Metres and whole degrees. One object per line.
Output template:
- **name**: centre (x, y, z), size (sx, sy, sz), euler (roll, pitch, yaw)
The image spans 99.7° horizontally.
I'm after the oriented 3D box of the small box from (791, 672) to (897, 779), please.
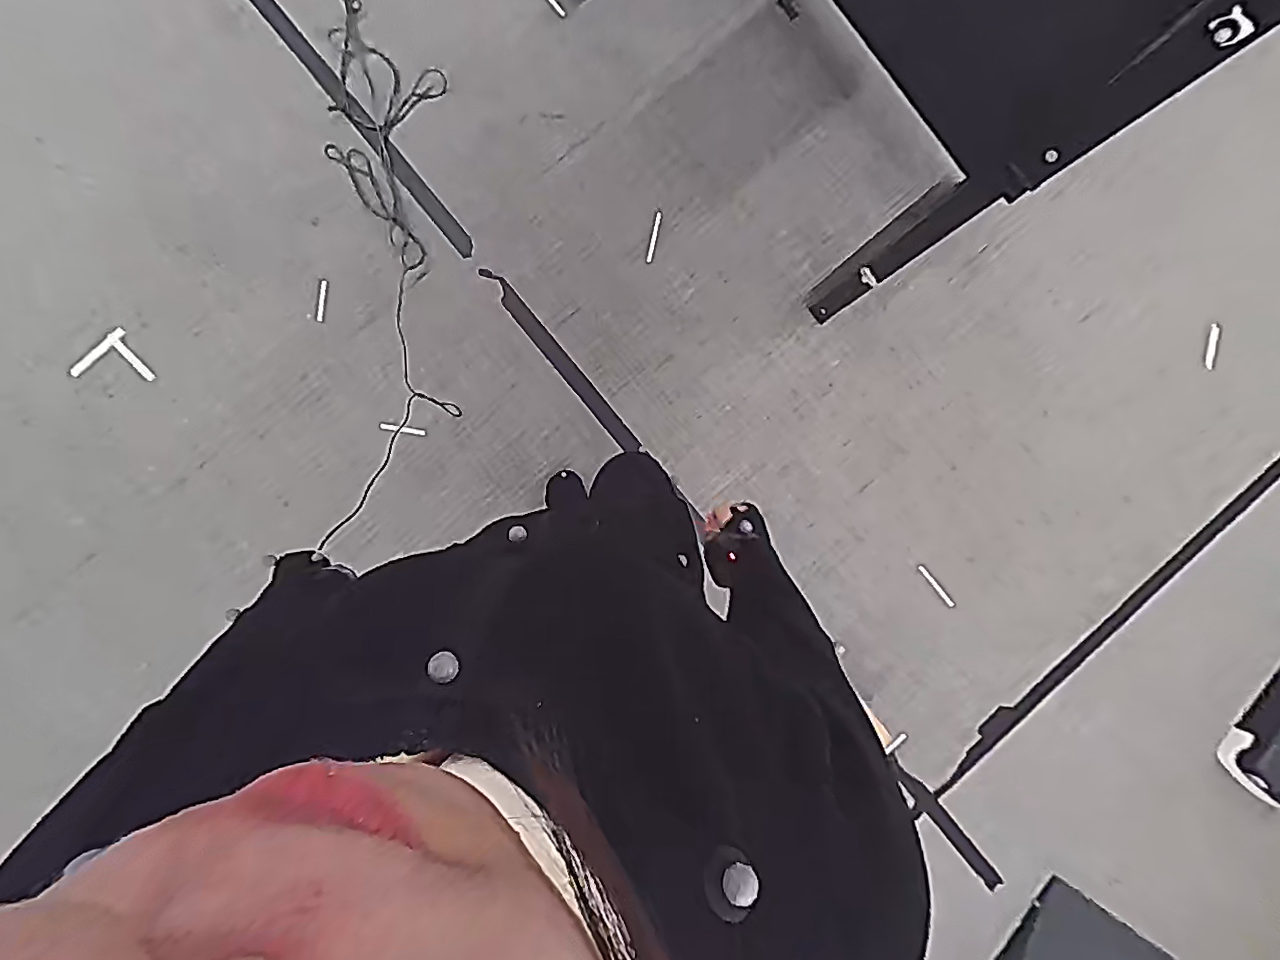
- **small box**: centre (0.534, 0.642, 1.447), size (0.168, 0.176, 0.179), euler (-38, 93, -2)
